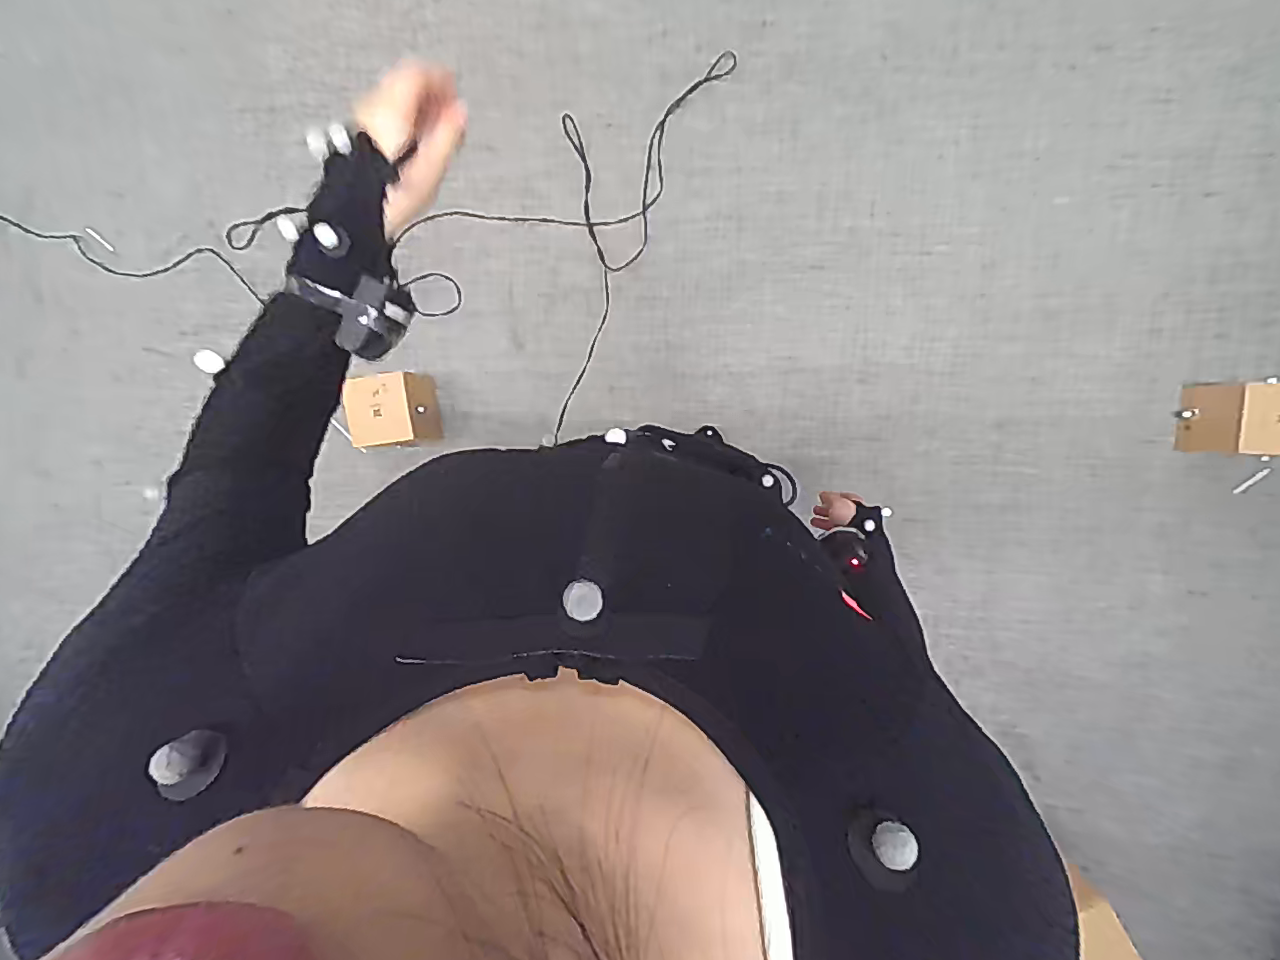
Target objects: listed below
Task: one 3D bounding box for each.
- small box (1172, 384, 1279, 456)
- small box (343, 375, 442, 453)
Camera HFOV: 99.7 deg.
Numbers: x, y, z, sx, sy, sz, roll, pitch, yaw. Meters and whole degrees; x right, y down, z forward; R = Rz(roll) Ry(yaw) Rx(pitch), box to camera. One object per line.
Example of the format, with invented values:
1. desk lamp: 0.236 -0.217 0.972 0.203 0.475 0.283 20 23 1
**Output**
1. small box: 1.463 -0.143 1.310 0.179 0.176 0.168 1 94 5
2. small box: -0.643 -0.172 1.427 0.168 0.176 0.179 -8 94 4
